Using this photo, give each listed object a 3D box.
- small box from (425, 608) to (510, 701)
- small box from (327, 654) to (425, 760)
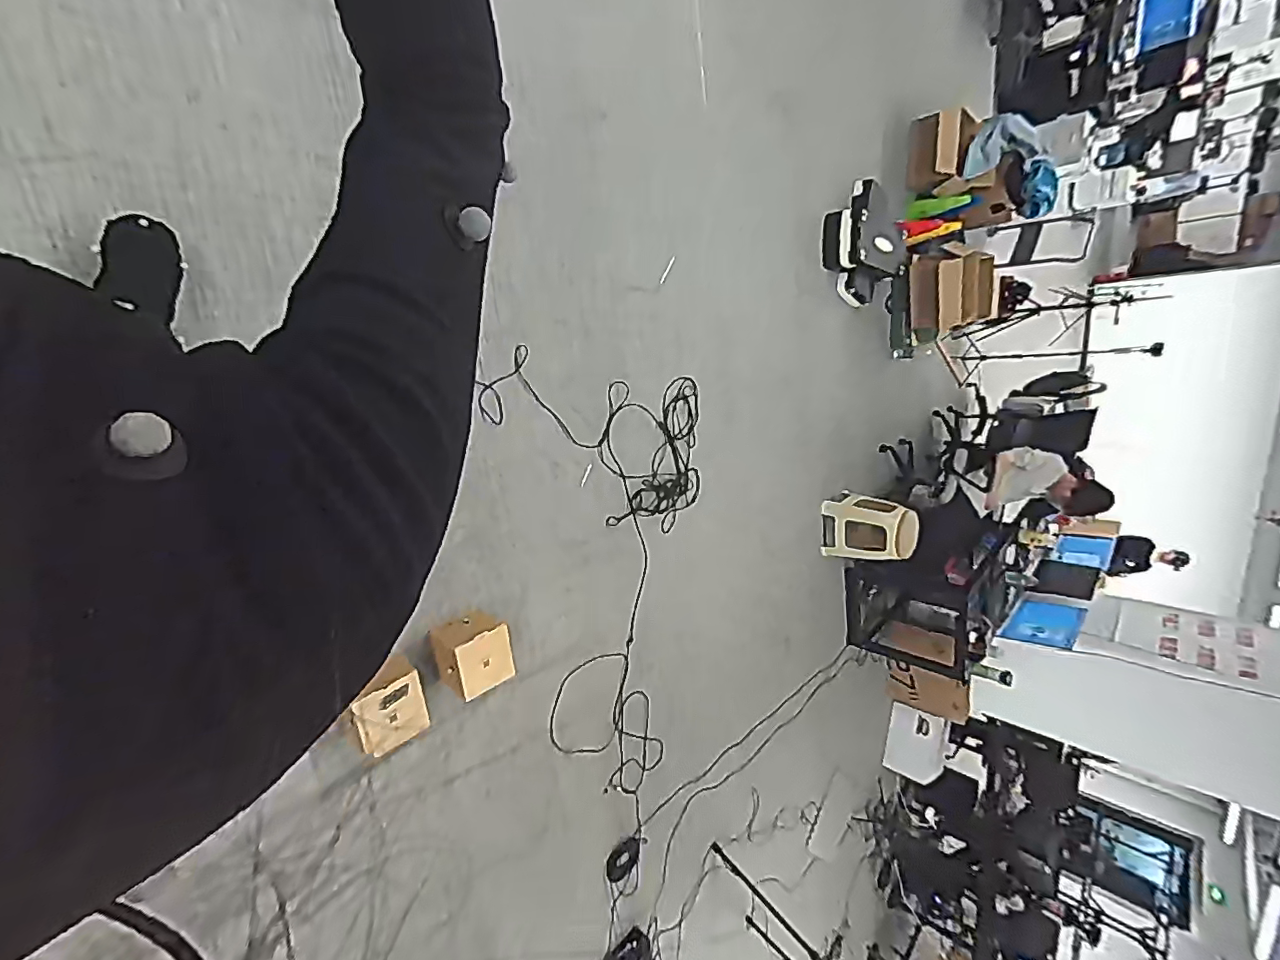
[{"bbox_3d":[-0.506,0.504,1.588,0.168,0.176,0.179,-20,110,-42],"label":"small box"},{"bbox_3d":[-0.691,0.577,1.410,0.168,0.176,0.179,-21,111,-42],"label":"small box"}]
